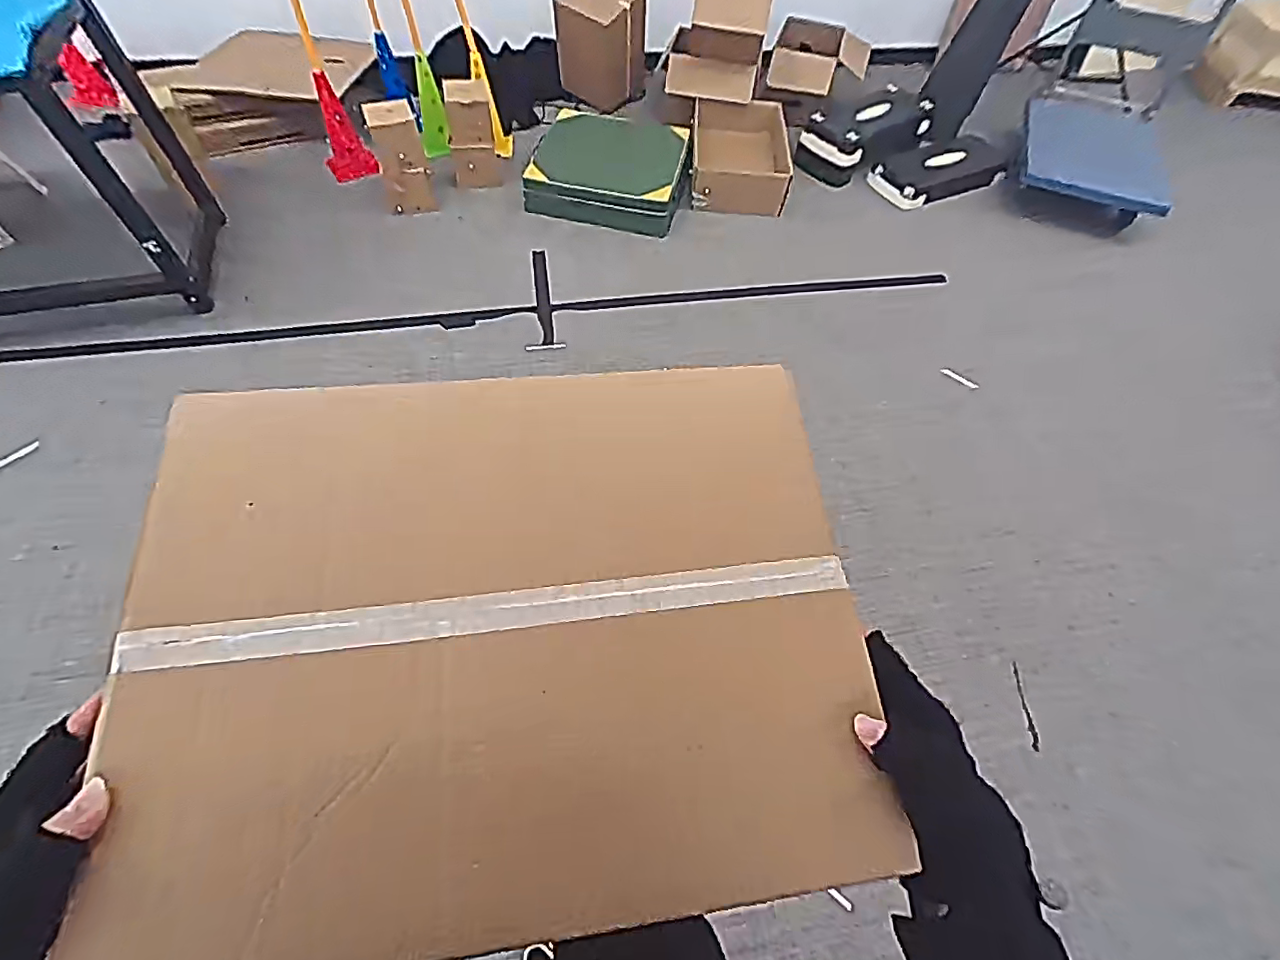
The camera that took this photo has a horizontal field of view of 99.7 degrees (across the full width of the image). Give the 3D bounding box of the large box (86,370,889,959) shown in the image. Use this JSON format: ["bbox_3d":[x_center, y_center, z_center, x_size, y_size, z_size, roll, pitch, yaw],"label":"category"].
[{"bbox_3d":[-0.088,0.133,0.459,0.408,0.320,0.320,-5,68,-7],"label":"large box"}]
